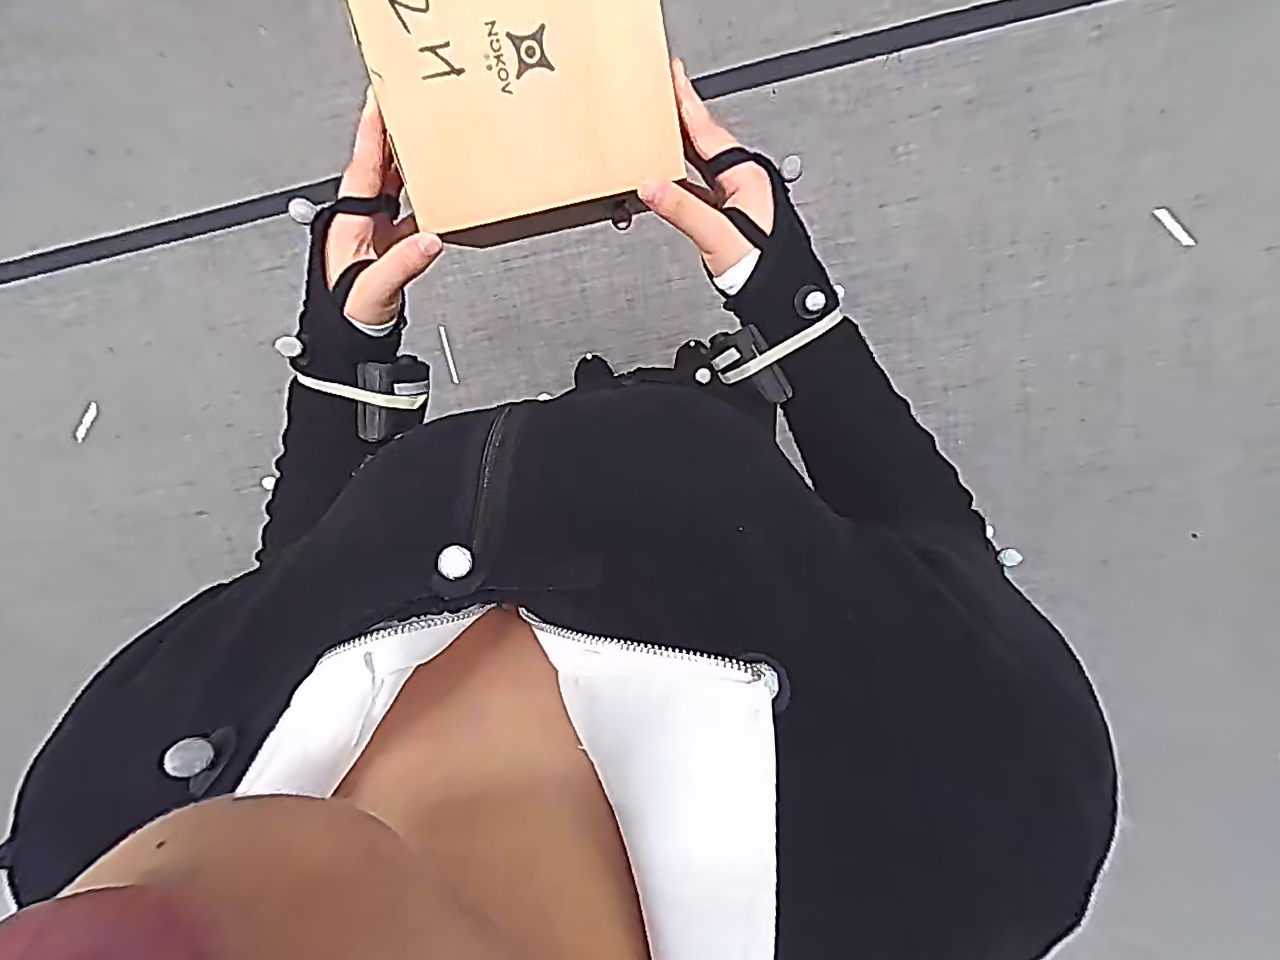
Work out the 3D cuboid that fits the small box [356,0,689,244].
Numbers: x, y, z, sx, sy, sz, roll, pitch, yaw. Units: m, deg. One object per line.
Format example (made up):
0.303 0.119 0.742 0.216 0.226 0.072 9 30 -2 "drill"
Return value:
-0.071 -0.276 0.392 0.179 0.176 0.168 -11 111 2 "small box"
